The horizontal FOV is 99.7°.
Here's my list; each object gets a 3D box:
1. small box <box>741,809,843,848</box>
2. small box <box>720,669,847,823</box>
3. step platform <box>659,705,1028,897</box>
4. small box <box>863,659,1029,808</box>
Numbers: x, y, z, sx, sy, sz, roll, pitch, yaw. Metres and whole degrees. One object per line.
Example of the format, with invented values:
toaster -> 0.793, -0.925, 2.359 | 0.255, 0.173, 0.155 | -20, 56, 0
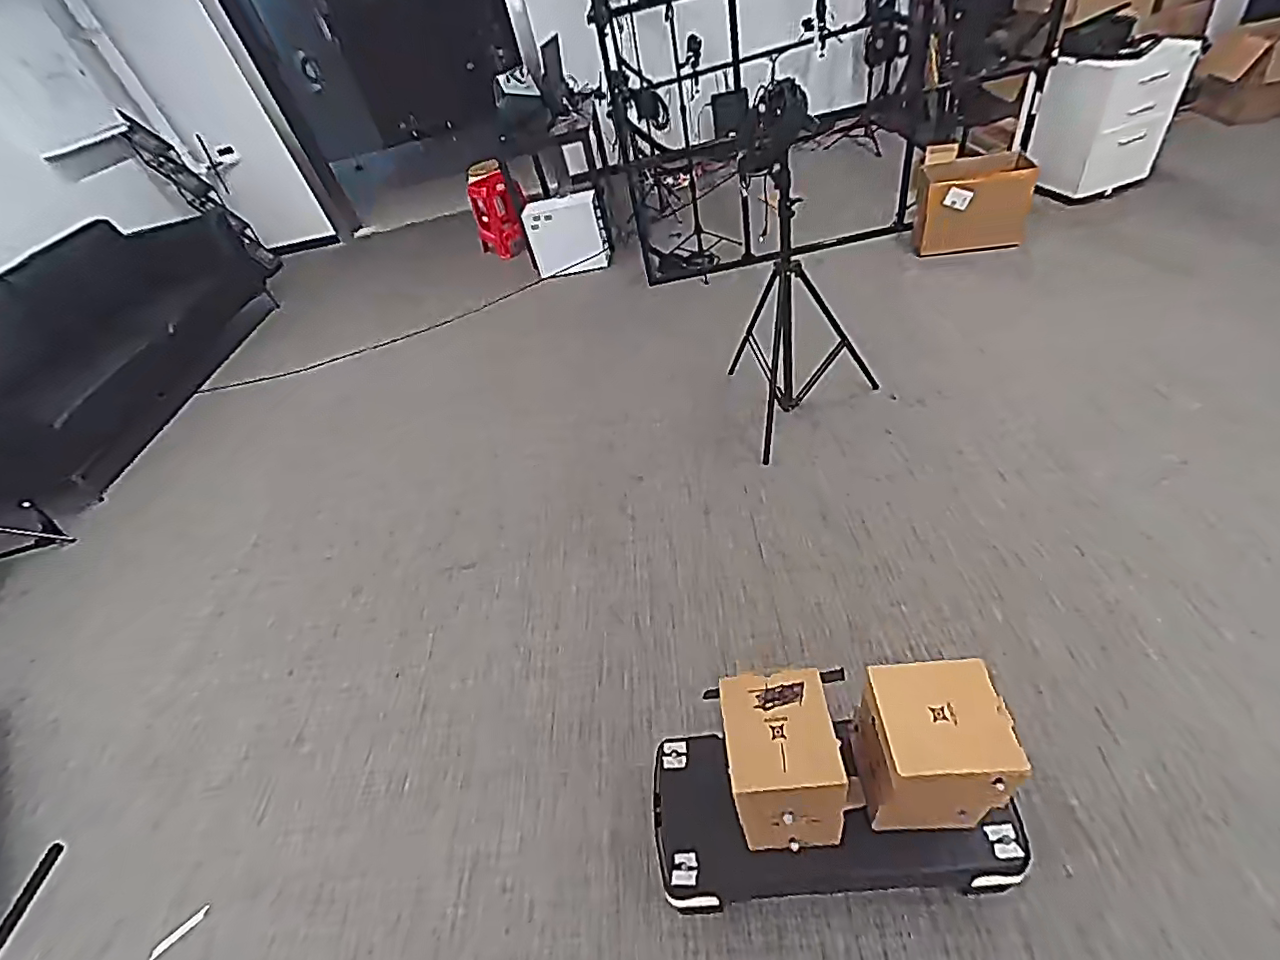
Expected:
small box -> 0.264, 0.553, 0.994 | 0.168, 0.176, 0.179 | -9, 44, 8
small box -> 0.227, 0.436, 0.884 | 0.168, 0.176, 0.179 | -9, 44, 8
step platform -> 0.380, 0.648, 1.115 | 0.684, 0.204, 0.286 | -10, 43, 7
small box -> 0.461, 0.403, 0.852 | 0.179, 0.176, 0.168 | -8, 44, 9
